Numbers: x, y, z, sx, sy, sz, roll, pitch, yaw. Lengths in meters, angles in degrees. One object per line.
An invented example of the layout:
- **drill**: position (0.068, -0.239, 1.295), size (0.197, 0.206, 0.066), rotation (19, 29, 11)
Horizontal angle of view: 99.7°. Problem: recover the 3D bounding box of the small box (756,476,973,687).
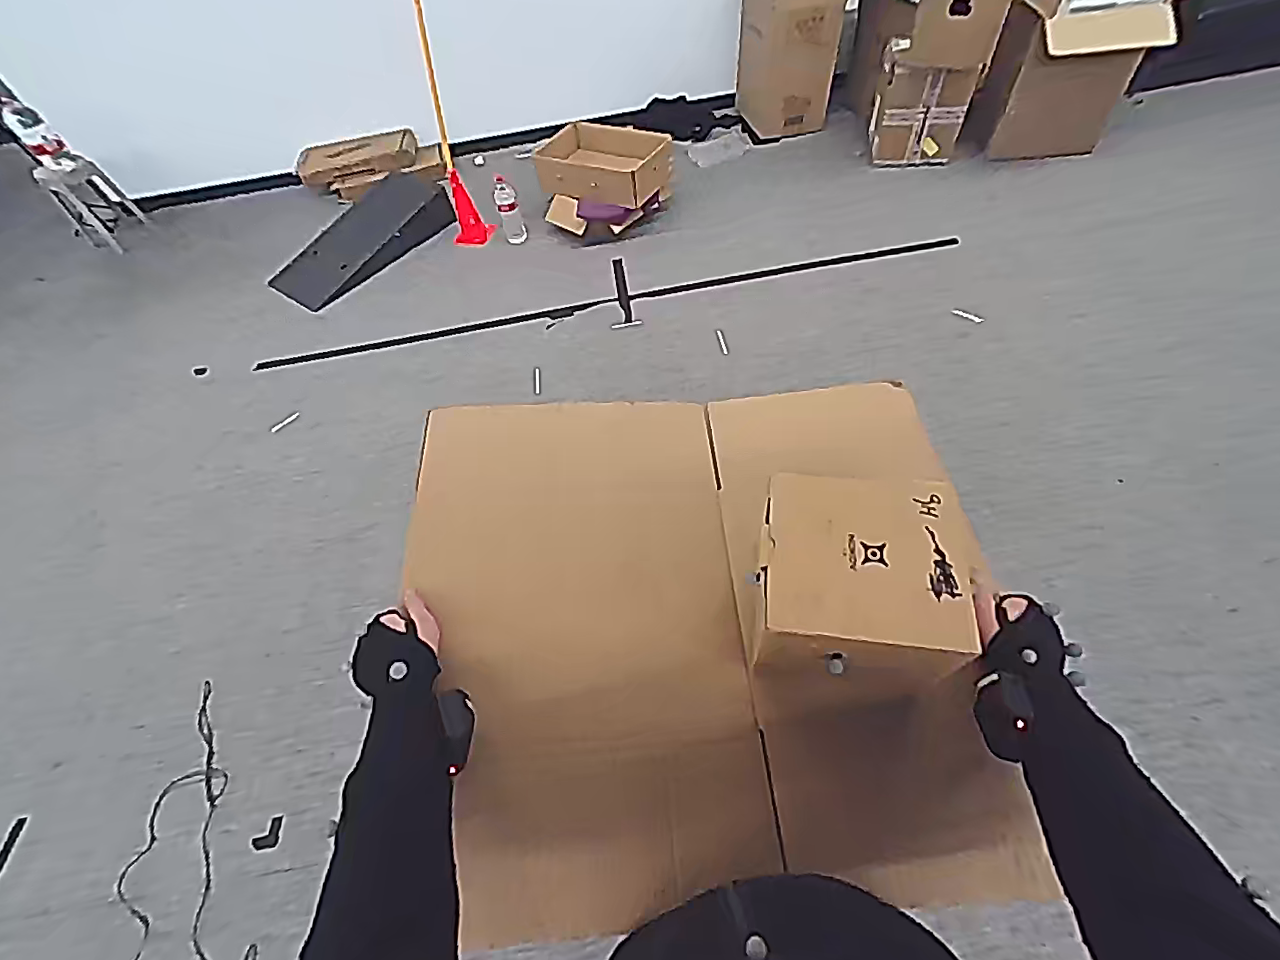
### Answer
- **small box**: position (0.216, 0.111, 0.571), size (0.179, 0.176, 0.168), rotation (3, 59, 11)
